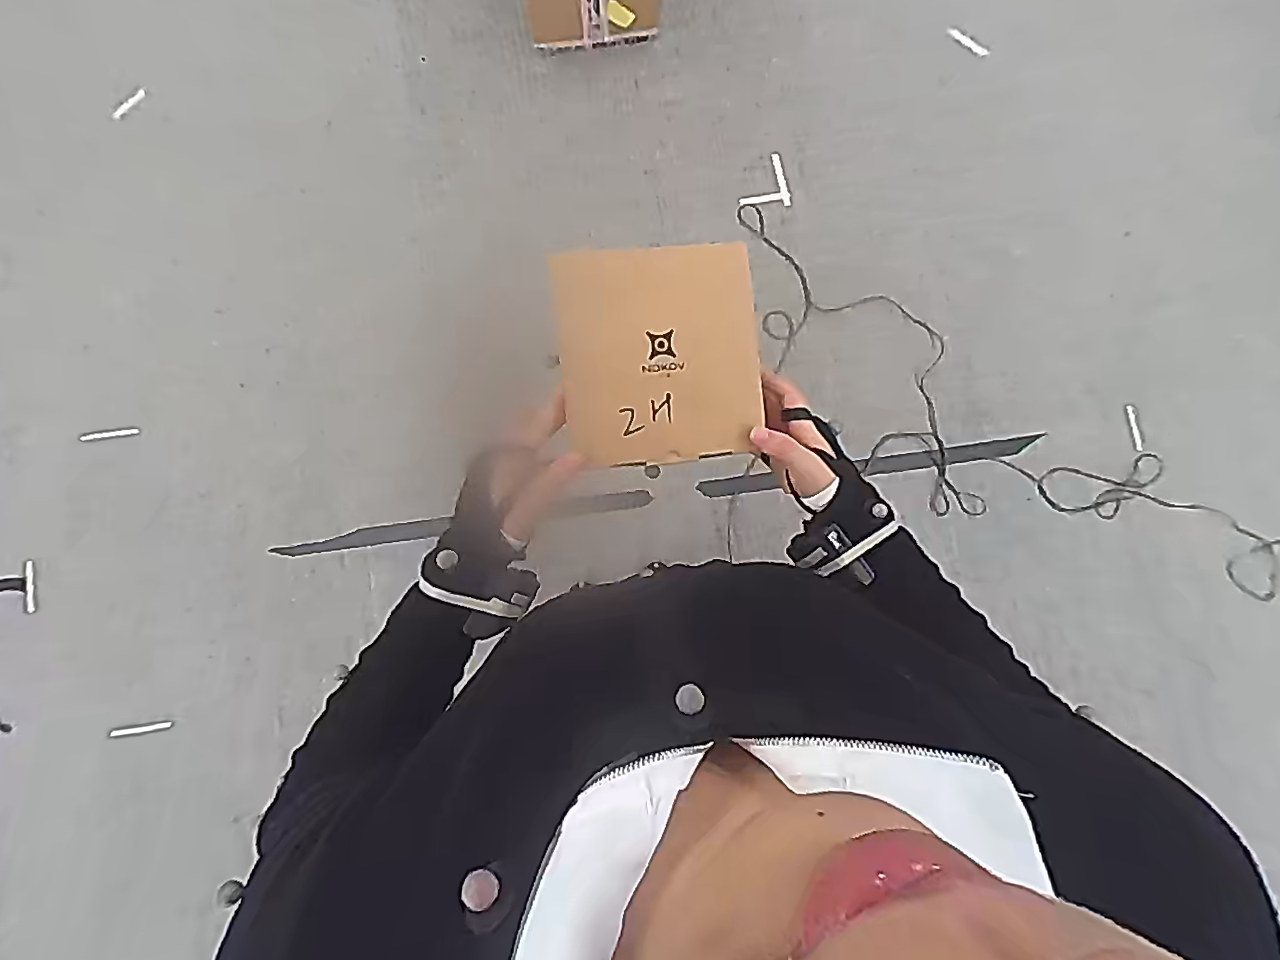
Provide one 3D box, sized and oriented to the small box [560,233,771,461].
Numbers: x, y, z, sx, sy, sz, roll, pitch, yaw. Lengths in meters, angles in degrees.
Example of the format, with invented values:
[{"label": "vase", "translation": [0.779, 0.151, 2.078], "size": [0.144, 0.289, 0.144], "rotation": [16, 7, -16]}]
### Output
[{"label": "small box", "translation": [0.012, -0.114, 0.522], "size": [0.168, 0.176, 0.179], "rotation": [-7, 92, -6]}]
